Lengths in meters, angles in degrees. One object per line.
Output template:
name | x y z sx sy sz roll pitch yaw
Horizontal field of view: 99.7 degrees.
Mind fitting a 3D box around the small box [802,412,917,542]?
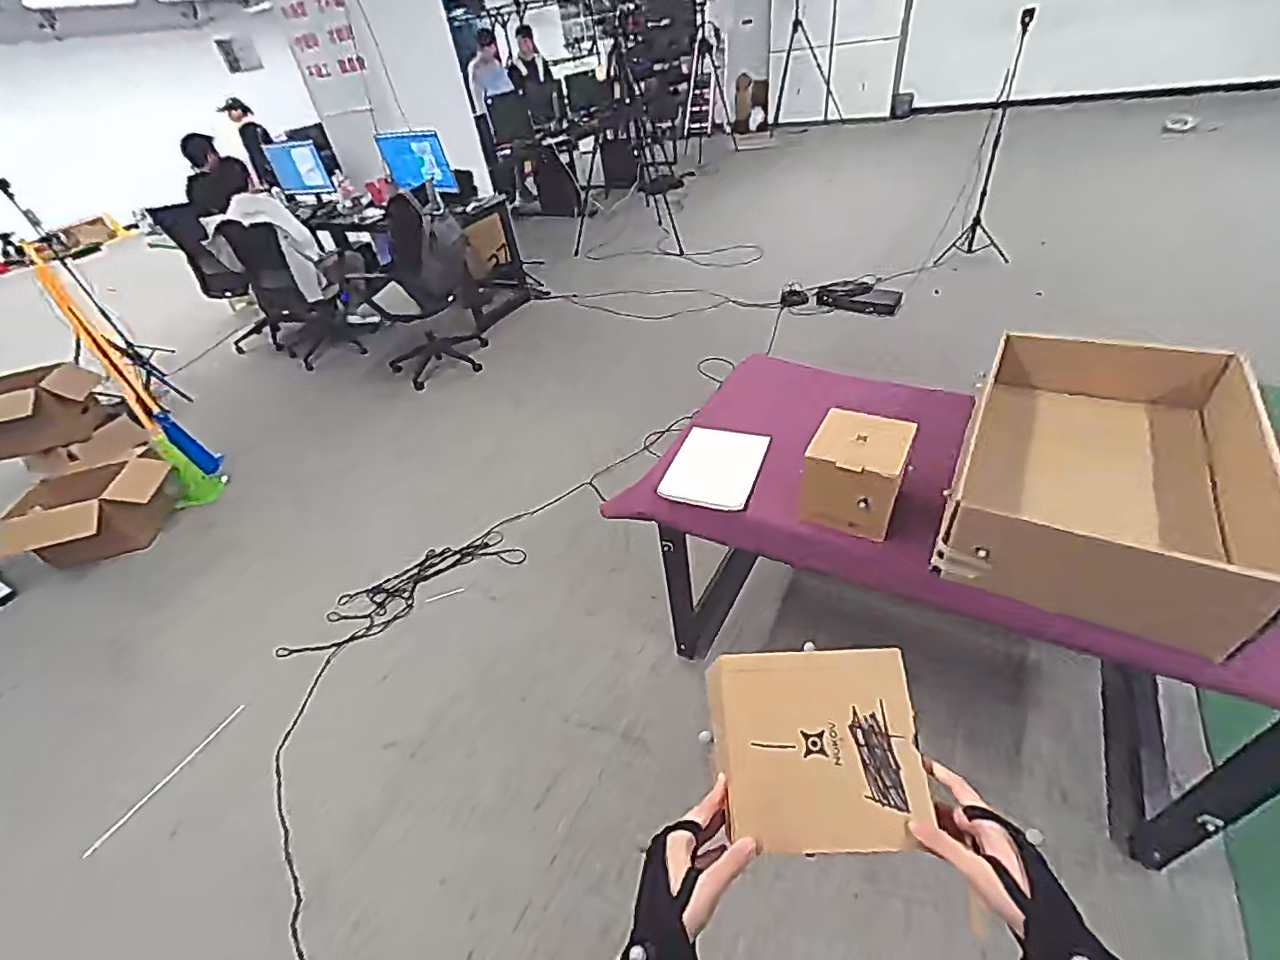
small box | 0.424 -0.007 1.061 0.168 0.176 0.179 17 45 28

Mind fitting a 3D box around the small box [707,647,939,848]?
small box | 0.169 0.269 0.564 0.179 0.176 0.168 -2 65 1
